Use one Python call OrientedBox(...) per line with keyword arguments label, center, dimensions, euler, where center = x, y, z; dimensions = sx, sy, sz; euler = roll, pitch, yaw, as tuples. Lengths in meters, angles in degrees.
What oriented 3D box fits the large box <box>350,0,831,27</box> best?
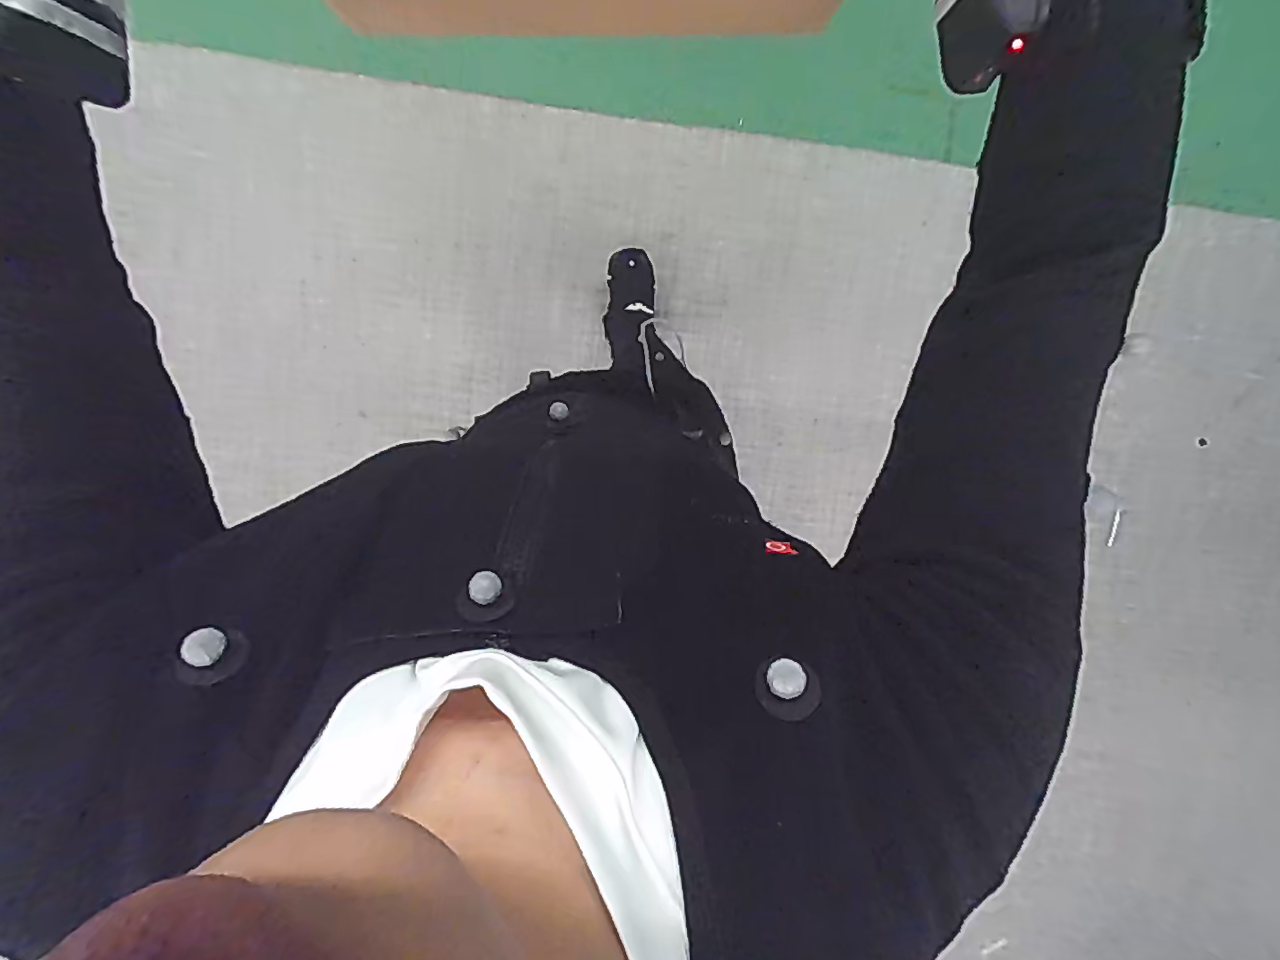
OrientedBox(label="large box", center=(-0.035, -0.502, 0.284), dimensions=(0.408, 0.320, 0.320), euler=(-2, 105, -2))
